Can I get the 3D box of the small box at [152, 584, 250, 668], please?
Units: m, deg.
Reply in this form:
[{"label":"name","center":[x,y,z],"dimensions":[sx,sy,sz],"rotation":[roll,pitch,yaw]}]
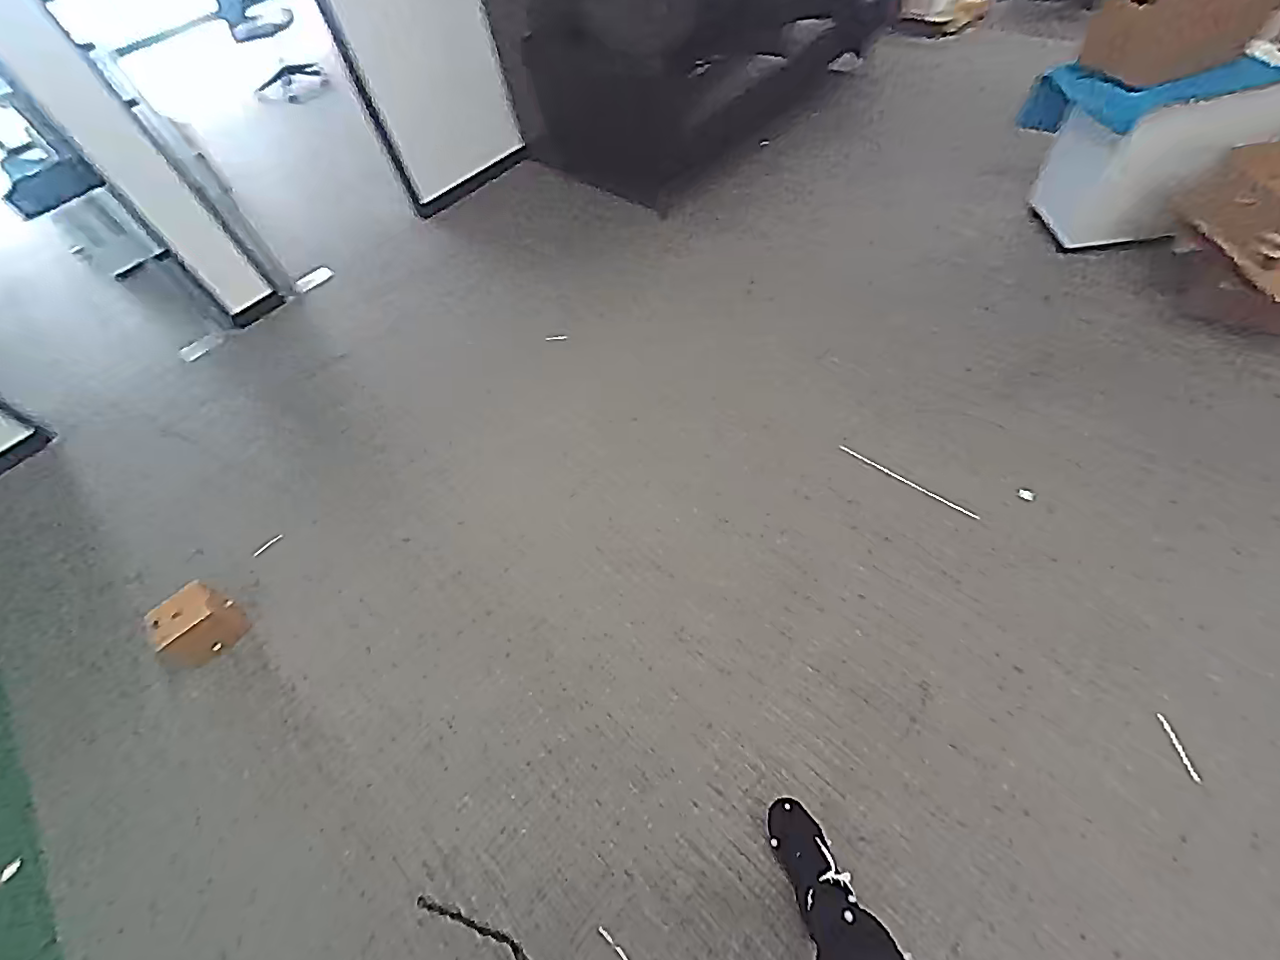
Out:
[{"label":"small box","center":[-1.420,0.479,1.764],"dimensions":[0.179,0.176,0.168],"rotation":[-40,58,-18]}]
